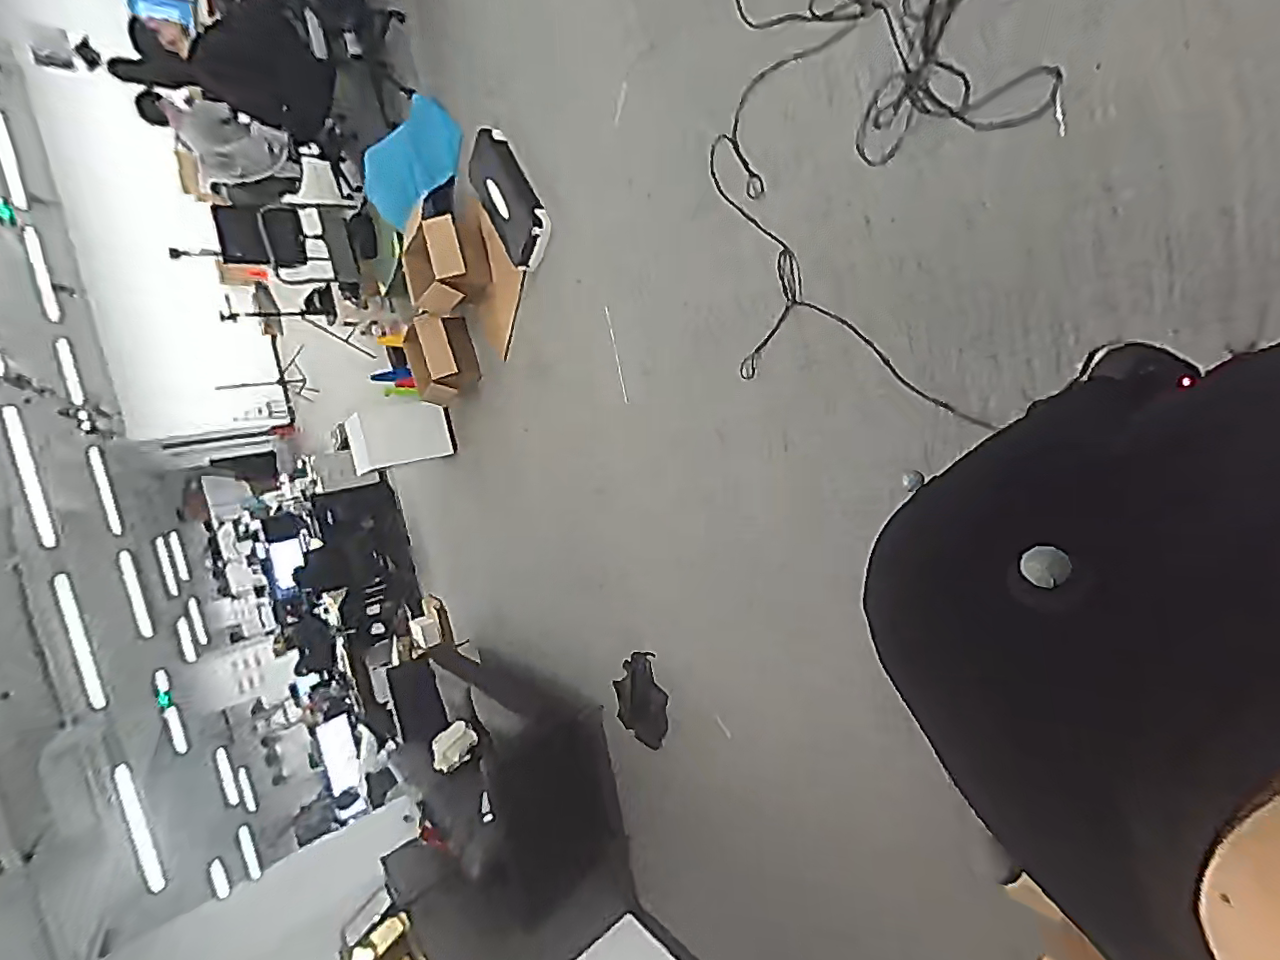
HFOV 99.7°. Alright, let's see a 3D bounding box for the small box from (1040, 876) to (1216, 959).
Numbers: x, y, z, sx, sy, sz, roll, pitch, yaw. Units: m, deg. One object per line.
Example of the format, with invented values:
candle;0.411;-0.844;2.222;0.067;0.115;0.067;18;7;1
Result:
small box;0.686;0.732;0.769;0.168;0.176;0.179;17;116;49
